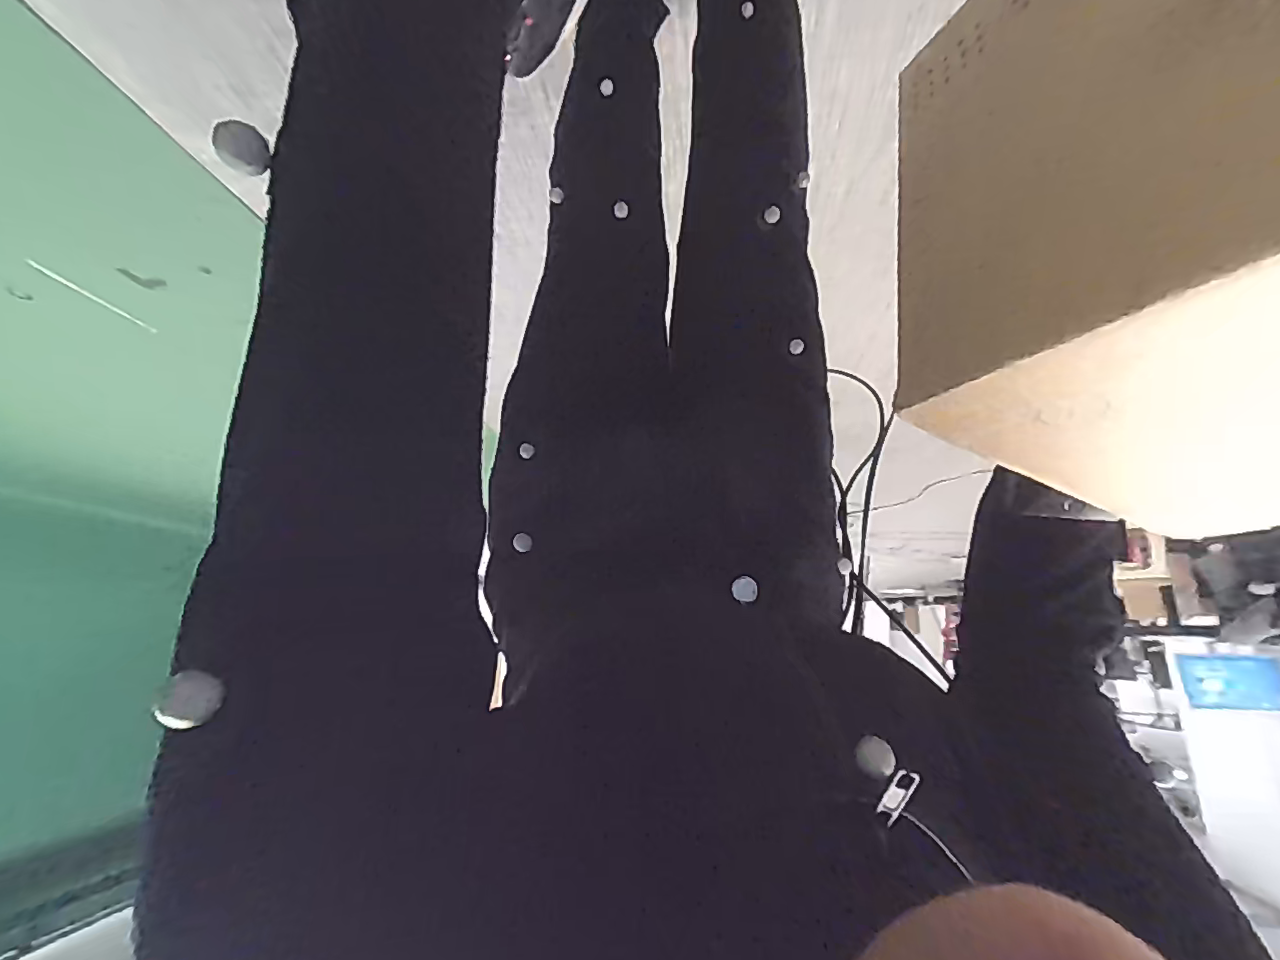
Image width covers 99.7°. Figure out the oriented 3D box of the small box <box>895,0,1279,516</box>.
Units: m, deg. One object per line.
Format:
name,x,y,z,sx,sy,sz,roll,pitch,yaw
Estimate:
small box,0.203,-0.105,0.167,0.179,0.176,0.168,17,159,-22
